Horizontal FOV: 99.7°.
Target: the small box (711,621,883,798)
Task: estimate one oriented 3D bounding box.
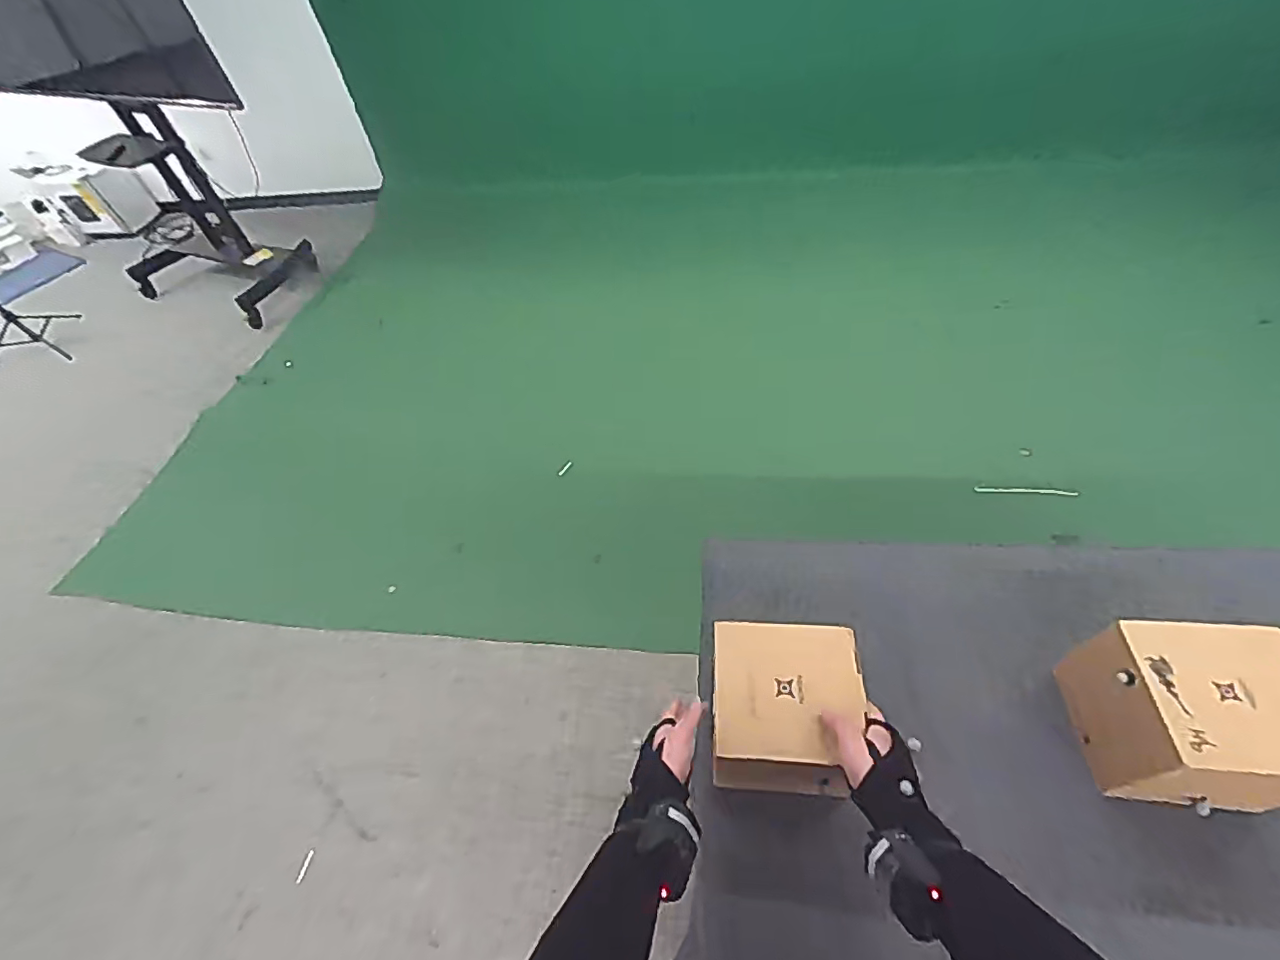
[{"bbox_3d":[0.183,0.297,0.693,0.179,0.176,0.168,1,49,5],"label":"small box"}]

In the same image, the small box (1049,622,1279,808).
[{"bbox_3d":[0.664,0.293,0.667,0.179,0.176,0.168,3,51,5],"label":"small box"}]
